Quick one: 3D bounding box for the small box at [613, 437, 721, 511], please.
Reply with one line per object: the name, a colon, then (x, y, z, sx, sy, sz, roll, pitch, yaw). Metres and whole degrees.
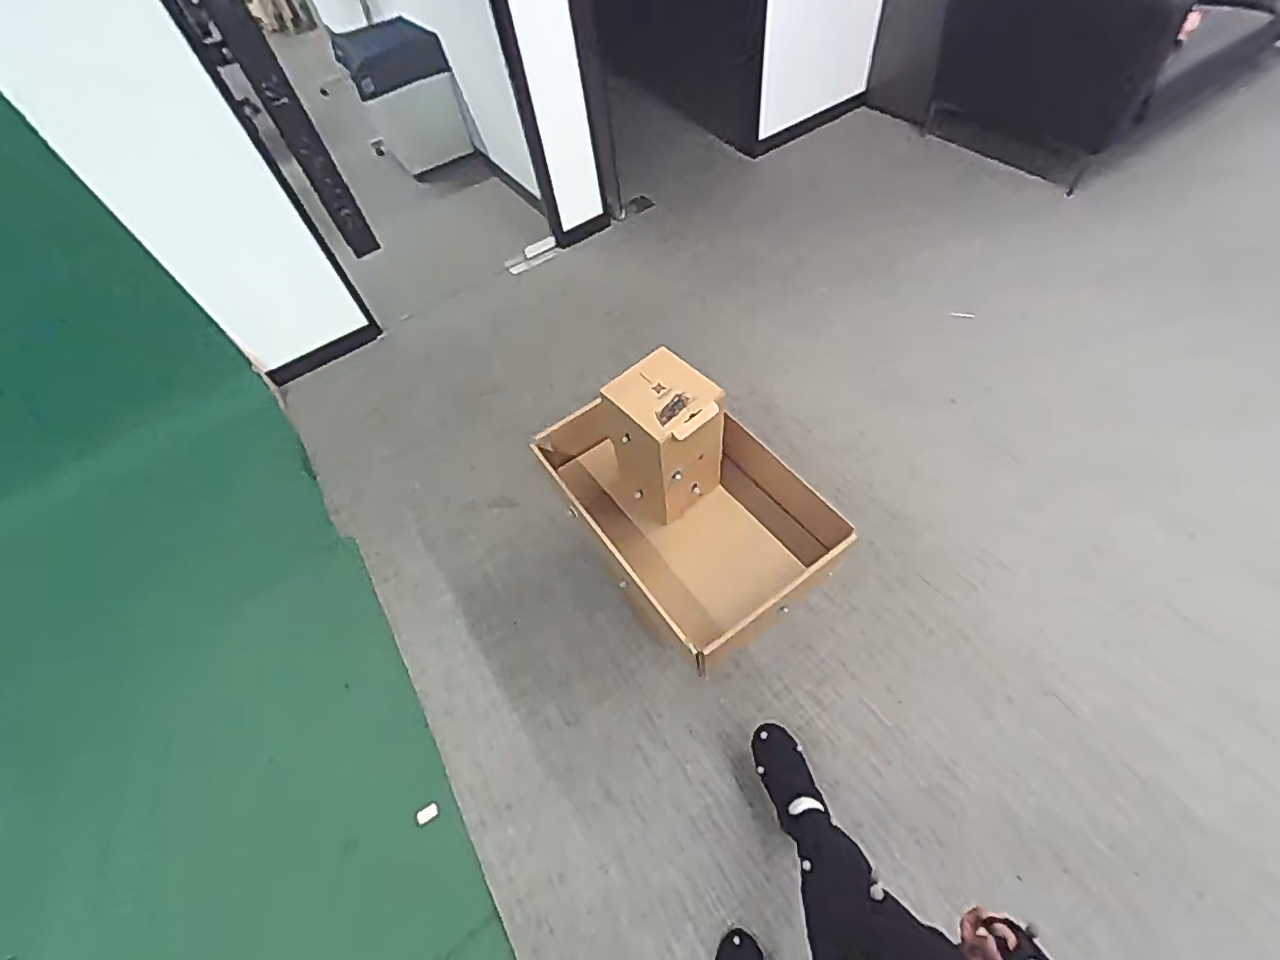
small box: (0.061, -0.052, 1.215, 0.168, 0.176, 0.179, -35, 63, -17)

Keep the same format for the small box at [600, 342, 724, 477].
small box: (0.046, -0.130, 1.071, 0.168, 0.176, 0.179, -37, 62, -17)
